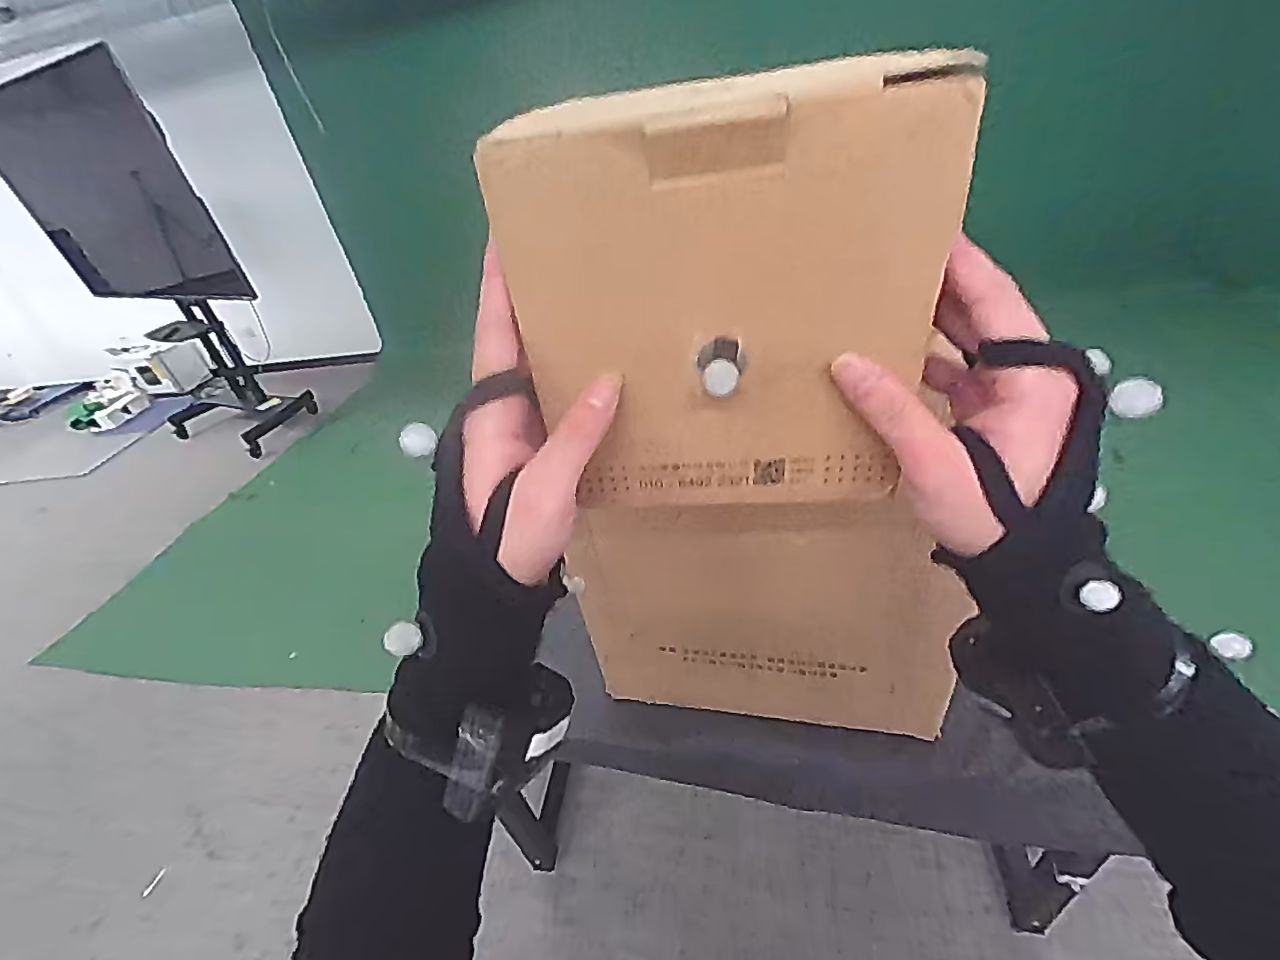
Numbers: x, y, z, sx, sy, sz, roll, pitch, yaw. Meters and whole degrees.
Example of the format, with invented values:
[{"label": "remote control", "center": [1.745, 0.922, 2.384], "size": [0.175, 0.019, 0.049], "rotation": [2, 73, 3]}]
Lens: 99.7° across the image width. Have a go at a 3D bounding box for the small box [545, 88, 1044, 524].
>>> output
[{"label": "small box", "center": [0.061, -0.089, 0.290], "size": [0.168, 0.176, 0.179], "rotation": [-4, 39, 6]}]
